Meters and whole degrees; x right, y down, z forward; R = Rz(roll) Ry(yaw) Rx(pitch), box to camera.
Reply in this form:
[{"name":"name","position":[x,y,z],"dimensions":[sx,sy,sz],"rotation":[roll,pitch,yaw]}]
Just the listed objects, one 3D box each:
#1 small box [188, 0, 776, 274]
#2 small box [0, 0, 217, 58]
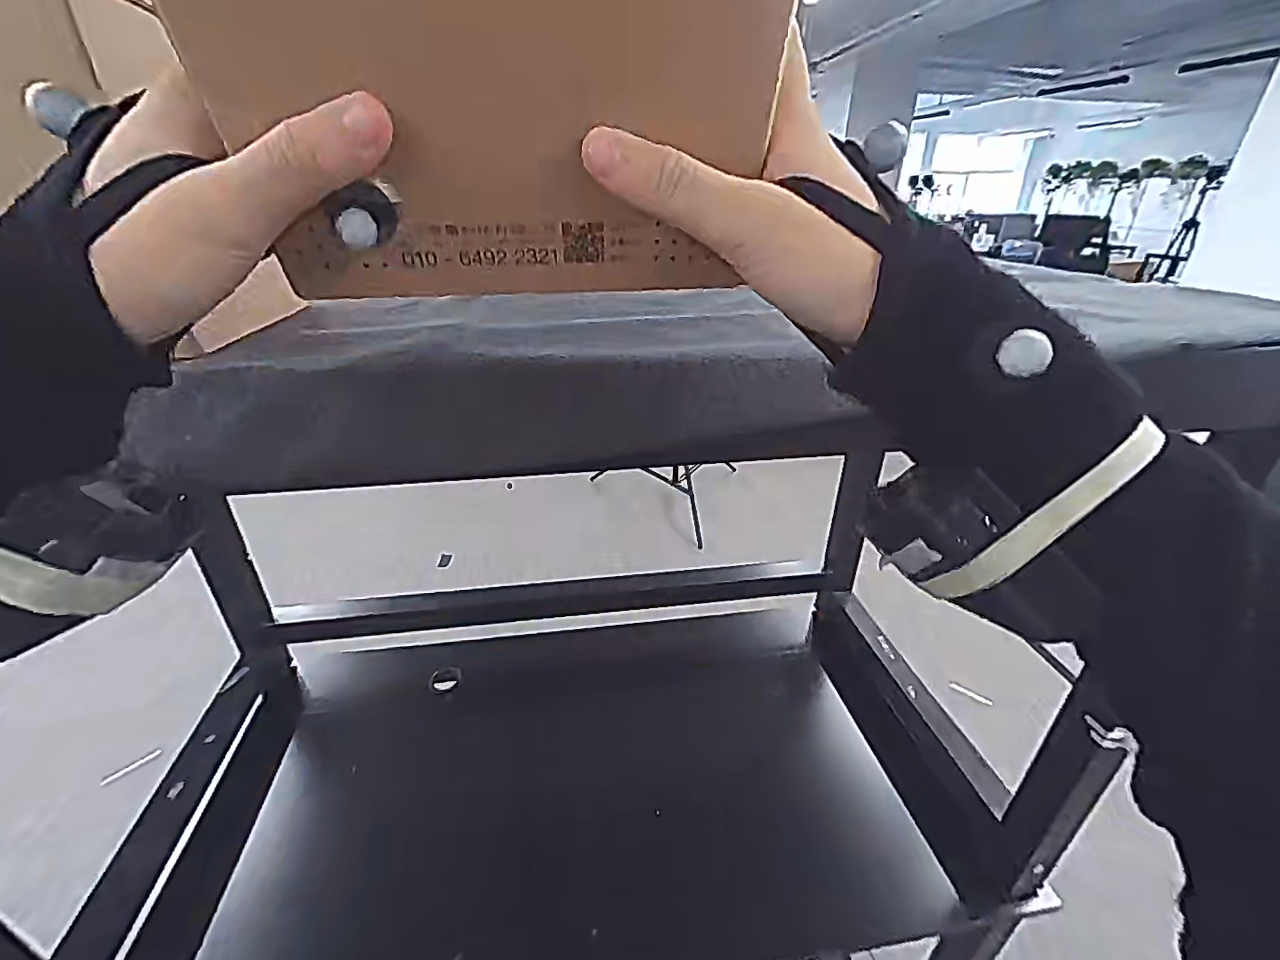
[{"name":"small box","position":[-0.048,-0.191,0.200],"dimensions":[0.168,0.176,0.179],"rotation":[-4,48,-7]},{"name":"small box","position":[-0.333,-0.315,0.245],"dimensions":[0.168,0.176,0.179],"rotation":[-4,26,-9]}]
